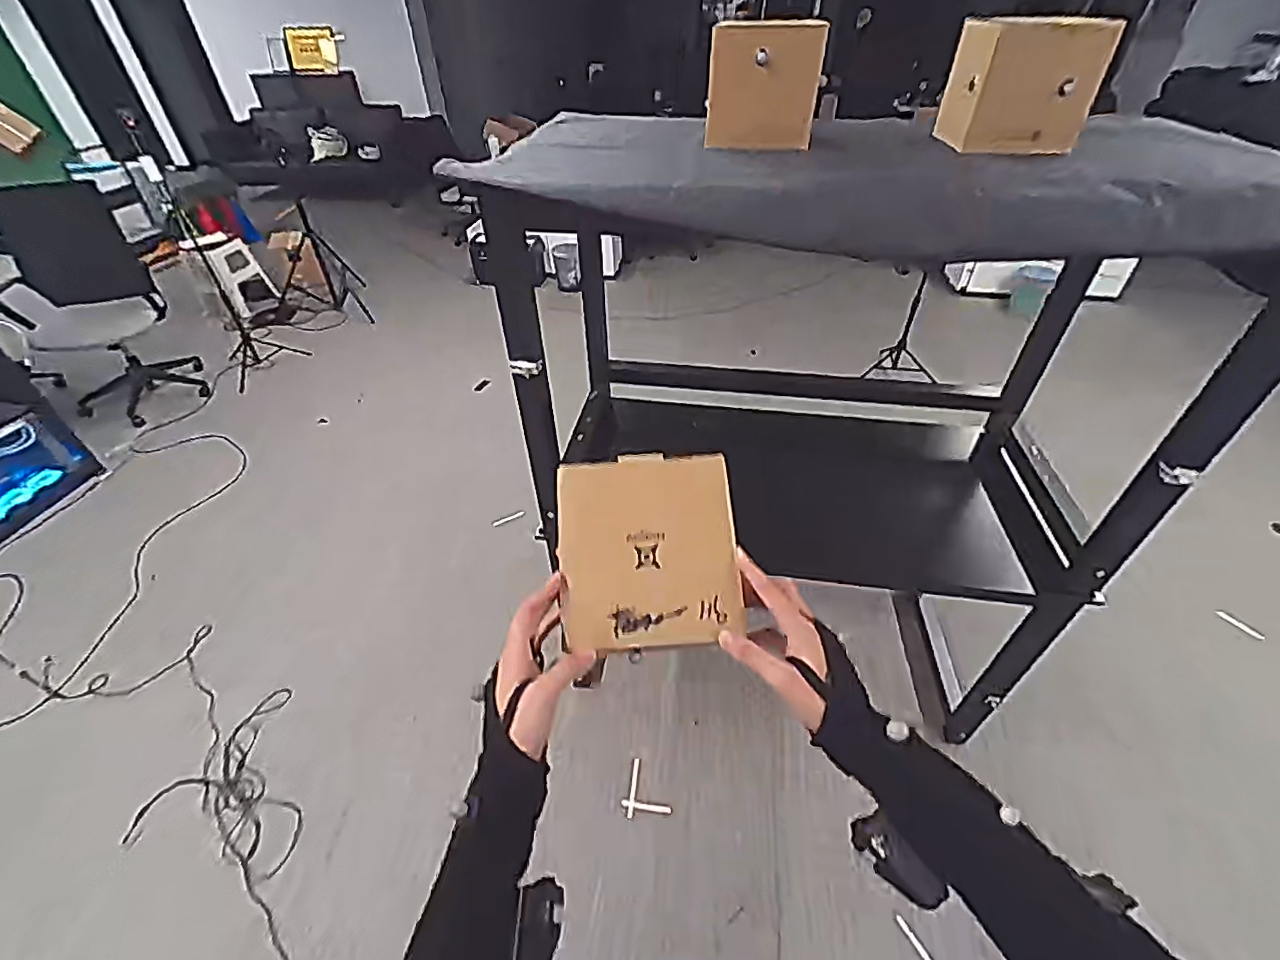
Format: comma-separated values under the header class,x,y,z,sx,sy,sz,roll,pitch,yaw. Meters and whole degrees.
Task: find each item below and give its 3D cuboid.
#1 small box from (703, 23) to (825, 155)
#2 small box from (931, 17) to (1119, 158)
class,x,y,z,sx,sy,sz,roll,pitch,yaw
small box,0.207,-0.671,0.930,0.179,0.176,0.168,6,42,8
small box,0.603,-0.635,0.877,0.168,0.176,0.179,5,42,6
